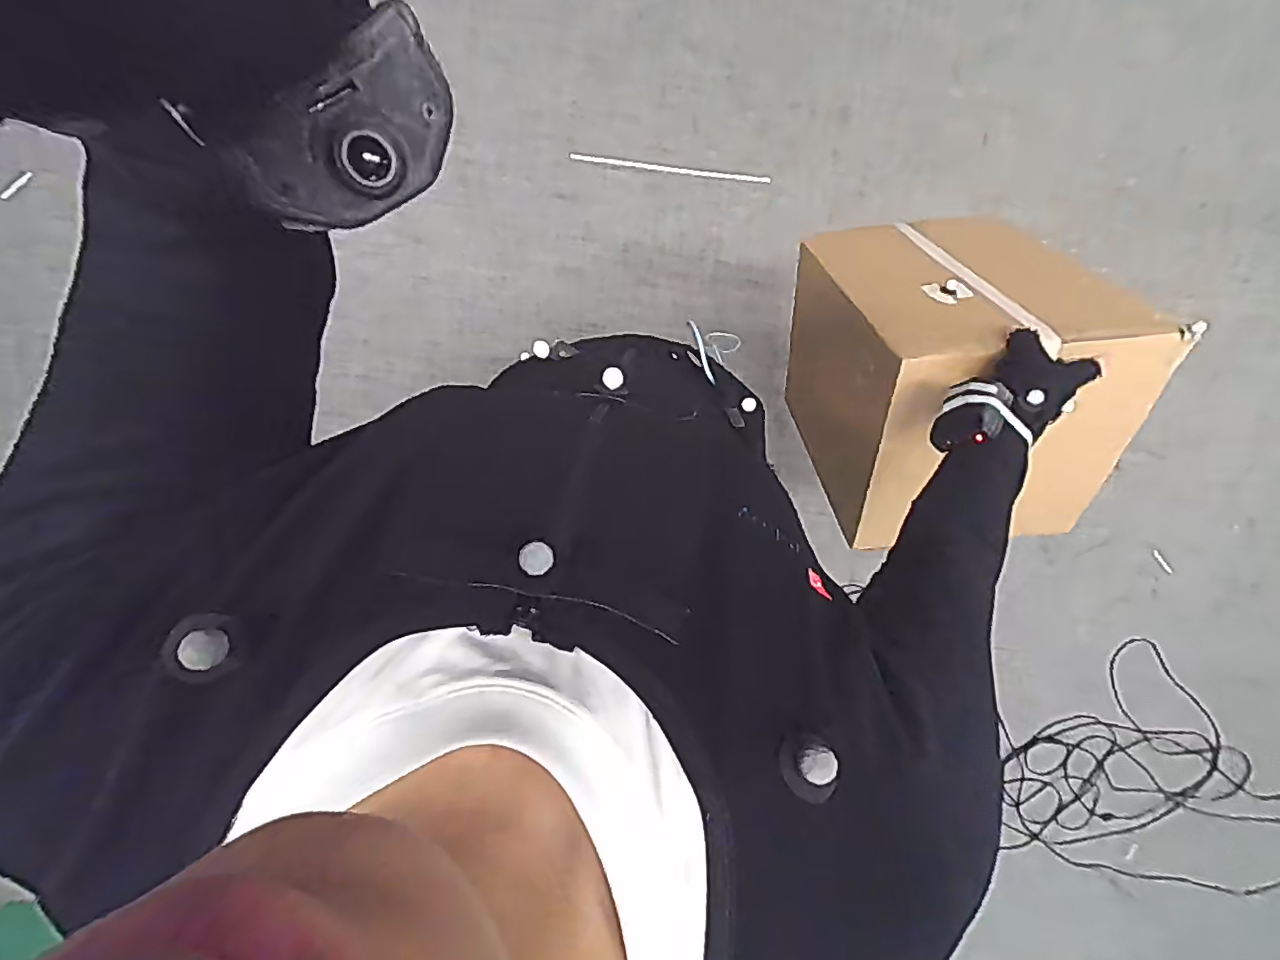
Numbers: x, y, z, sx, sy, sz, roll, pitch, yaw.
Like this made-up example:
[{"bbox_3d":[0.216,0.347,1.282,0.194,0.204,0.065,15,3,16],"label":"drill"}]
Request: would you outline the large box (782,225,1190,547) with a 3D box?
[{"bbox_3d":[0.434,-0.155,0.822,0.320,0.408,0.320,-5,133,0],"label":"large box"}]
